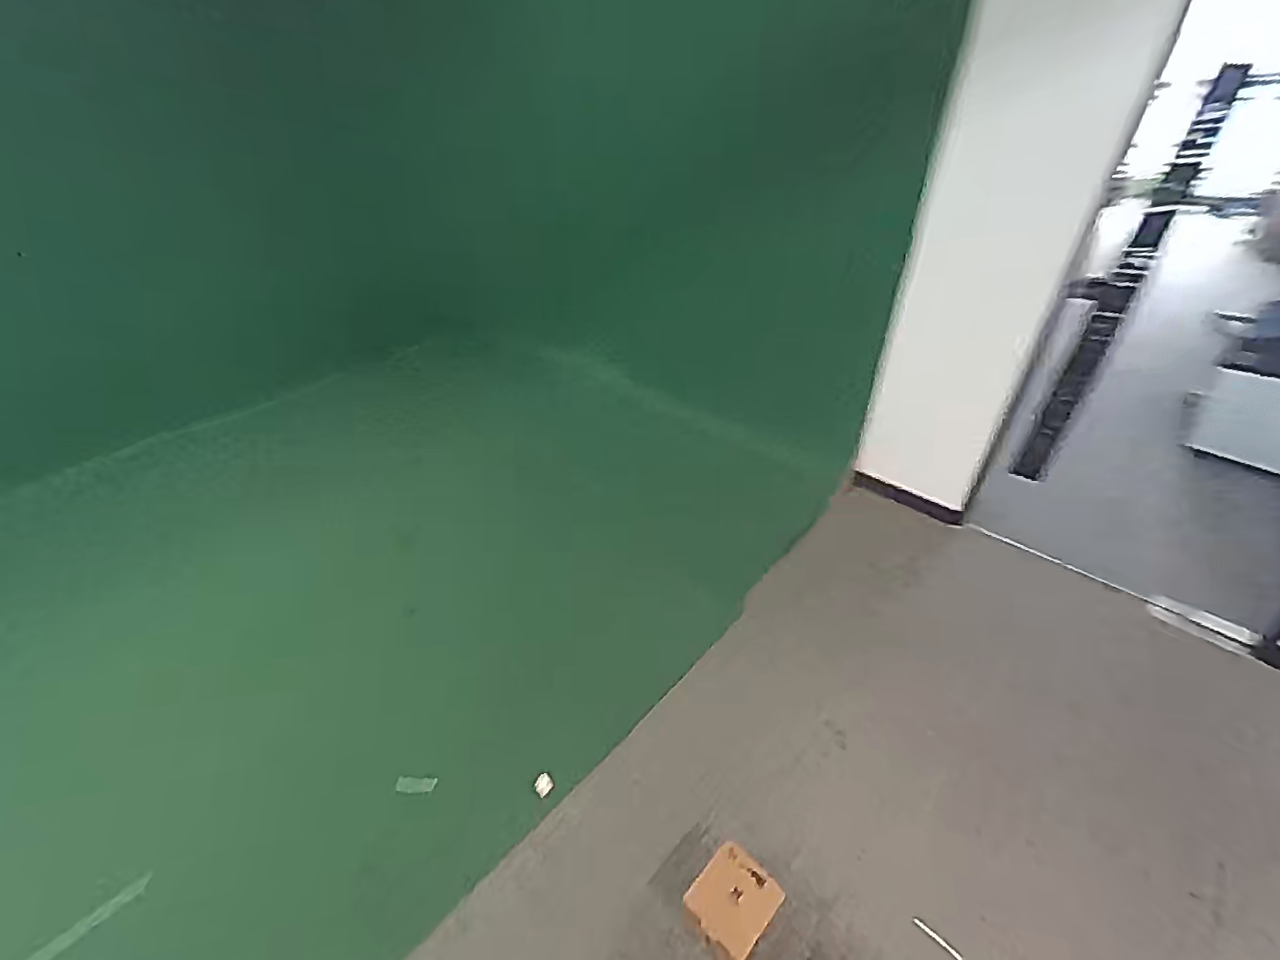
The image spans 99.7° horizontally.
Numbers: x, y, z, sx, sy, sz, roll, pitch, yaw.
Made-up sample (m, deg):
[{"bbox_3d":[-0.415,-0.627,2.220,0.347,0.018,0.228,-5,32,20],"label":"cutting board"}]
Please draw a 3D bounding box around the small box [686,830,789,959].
[{"bbox_3d":[0.225,0.978,1.261,0.179,0.176,0.168,-33,48,-30],"label":"small box"}]
